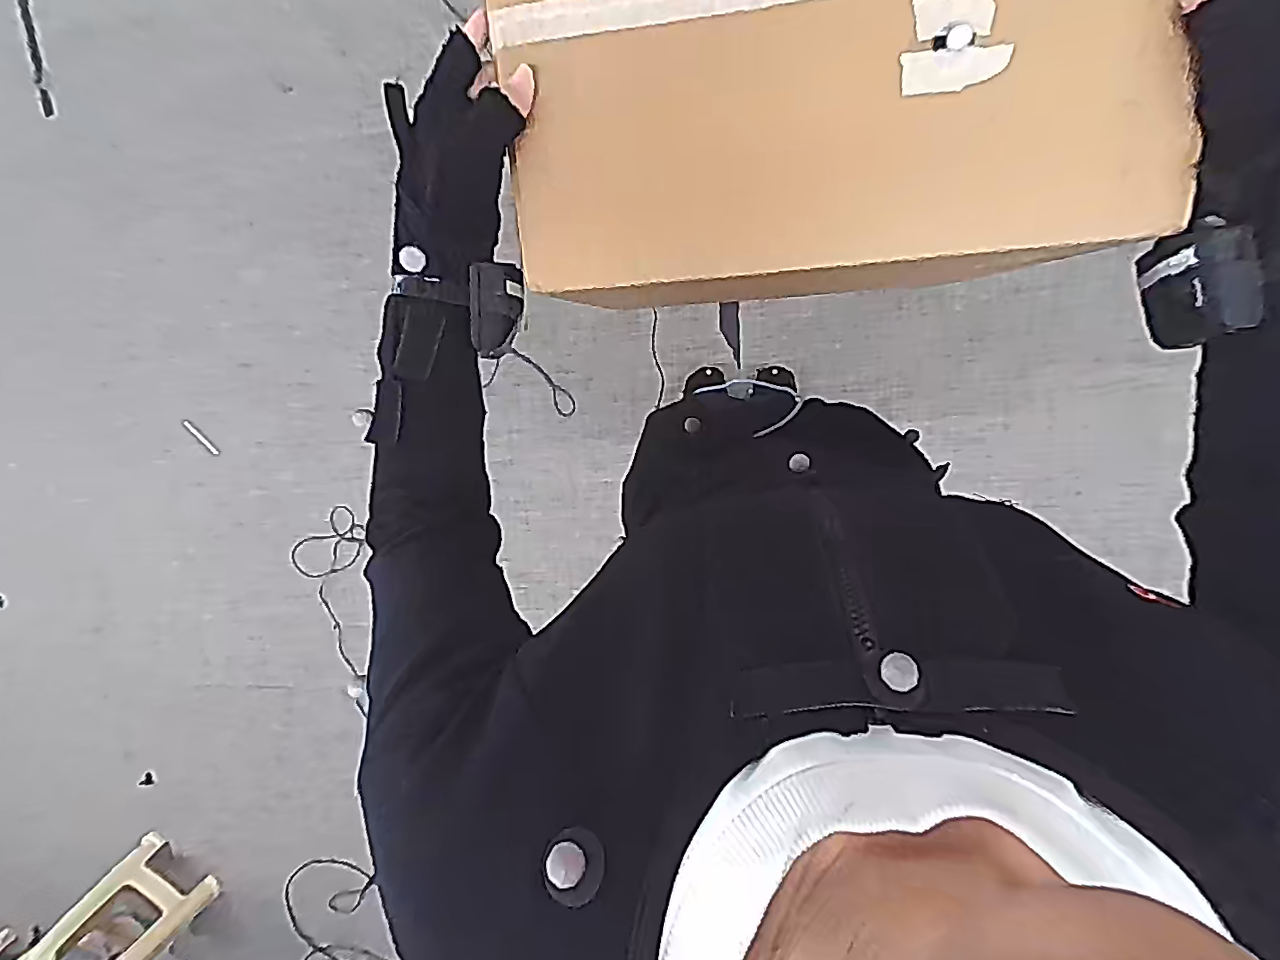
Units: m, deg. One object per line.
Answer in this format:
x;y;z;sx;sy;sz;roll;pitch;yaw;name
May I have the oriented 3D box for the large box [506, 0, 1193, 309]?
0.127;-0.334;0.465;0.408;0.320;0.320;-3;105;7;large box
